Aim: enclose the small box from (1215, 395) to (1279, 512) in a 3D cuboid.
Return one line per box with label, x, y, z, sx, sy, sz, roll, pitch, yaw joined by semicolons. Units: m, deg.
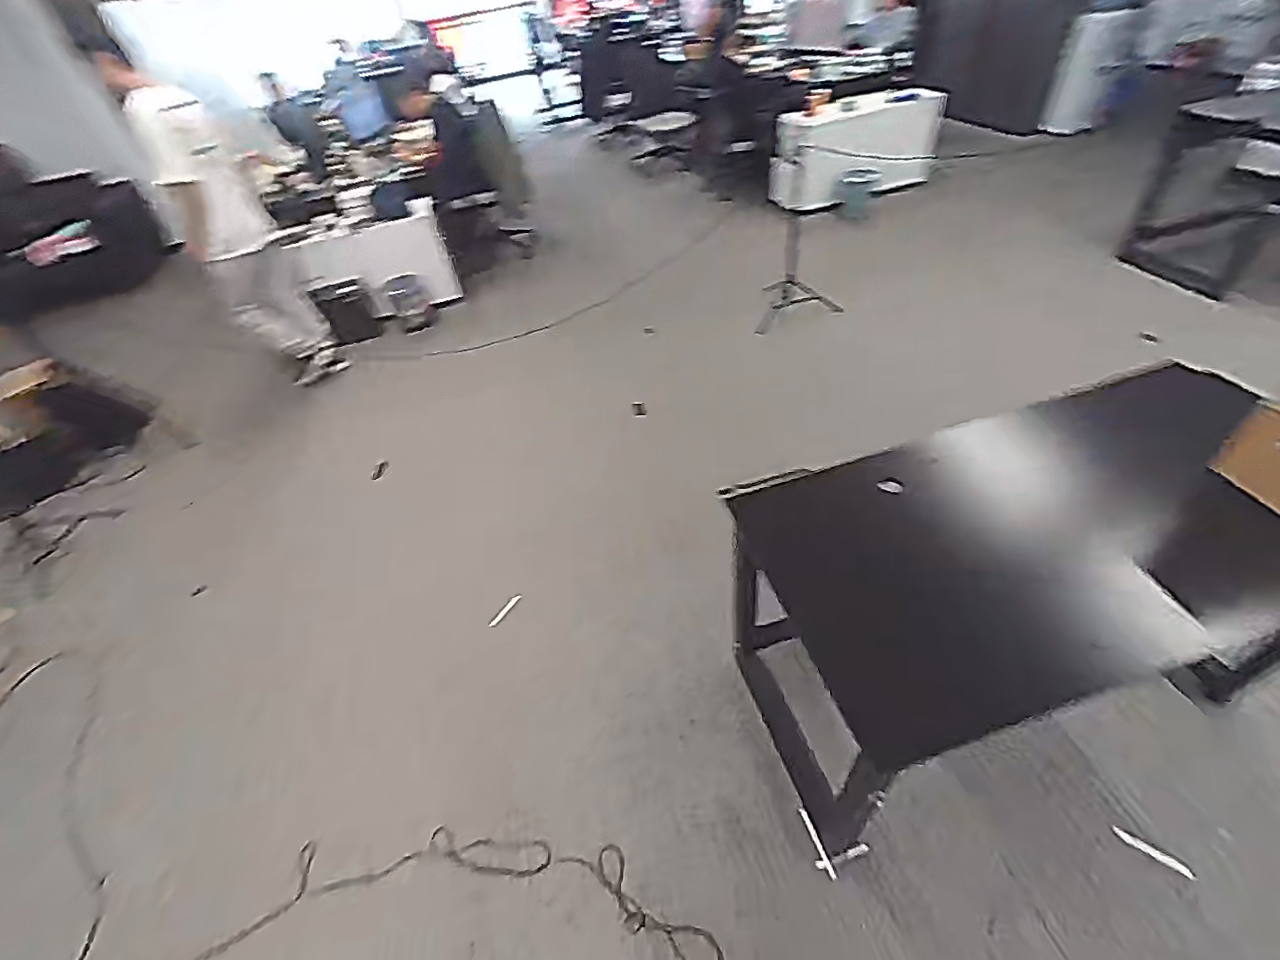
small box;1.242;-0.051;0.988;0.168;0.176;0.179;-14;44;-2
